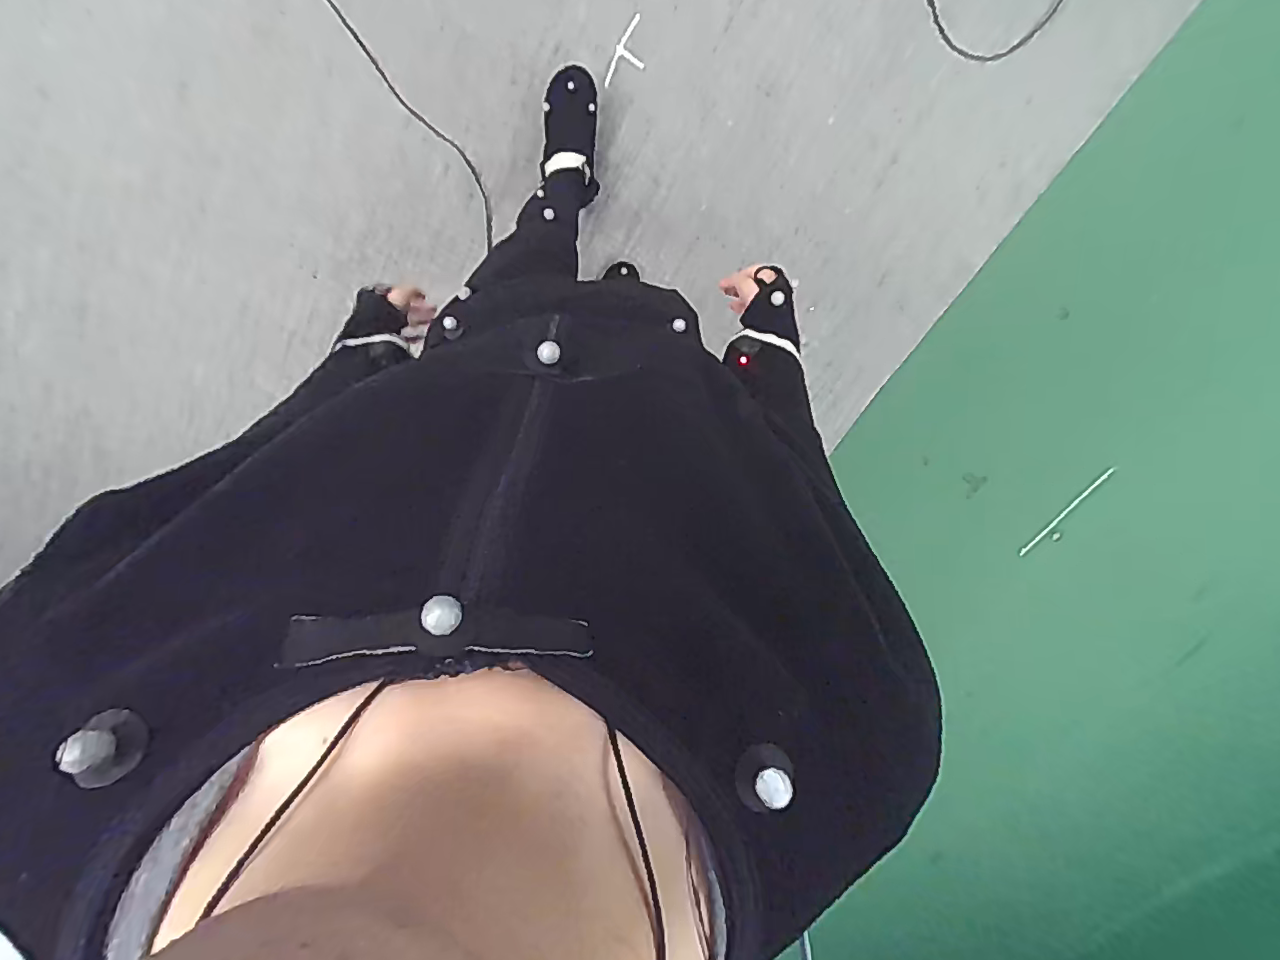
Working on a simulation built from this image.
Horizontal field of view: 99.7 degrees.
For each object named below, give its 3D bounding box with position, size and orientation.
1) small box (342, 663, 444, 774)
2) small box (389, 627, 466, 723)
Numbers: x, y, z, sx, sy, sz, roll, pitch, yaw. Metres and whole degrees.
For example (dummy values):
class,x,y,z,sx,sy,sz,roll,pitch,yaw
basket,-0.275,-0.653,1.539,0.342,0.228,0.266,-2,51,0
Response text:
class,x,y,z,sx,sy,sz,roll,pitch,yaw
small box,-0.618,0.600,1.373,0.168,0.176,0.179,23,113,-11
small box,-0.618,0.544,1.527,0.179,0.176,0.168,26,112,-13
